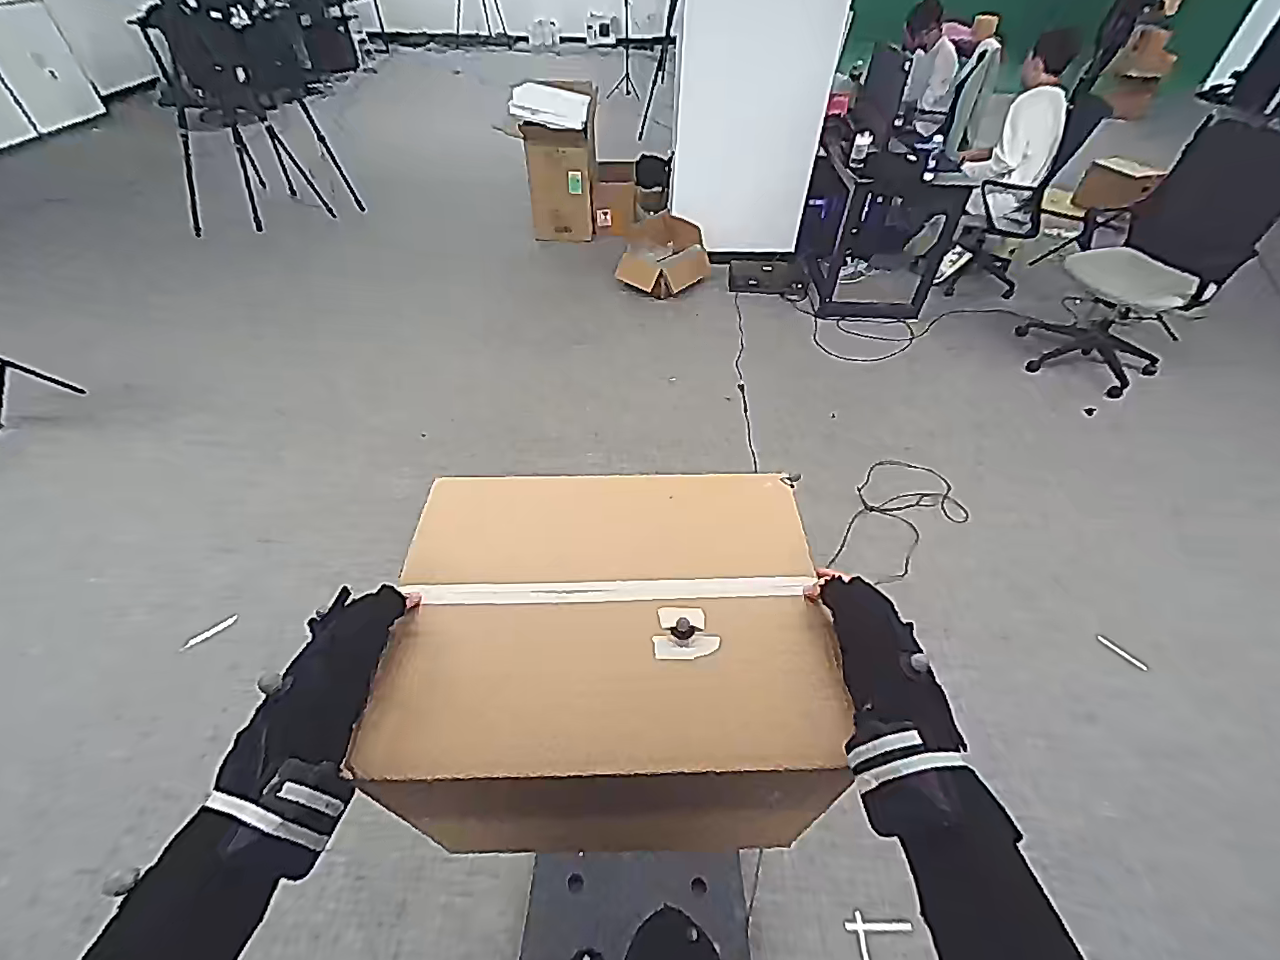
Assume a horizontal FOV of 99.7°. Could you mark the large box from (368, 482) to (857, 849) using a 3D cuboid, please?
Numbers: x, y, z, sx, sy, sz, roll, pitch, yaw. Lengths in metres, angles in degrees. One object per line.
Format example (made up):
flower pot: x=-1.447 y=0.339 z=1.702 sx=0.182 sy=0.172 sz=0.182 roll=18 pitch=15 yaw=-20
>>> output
large box: x=-0.026 y=0.219 z=0.641 sx=0.408 sy=0.320 sz=0.320 roll=0 pitch=47 yaw=-1
